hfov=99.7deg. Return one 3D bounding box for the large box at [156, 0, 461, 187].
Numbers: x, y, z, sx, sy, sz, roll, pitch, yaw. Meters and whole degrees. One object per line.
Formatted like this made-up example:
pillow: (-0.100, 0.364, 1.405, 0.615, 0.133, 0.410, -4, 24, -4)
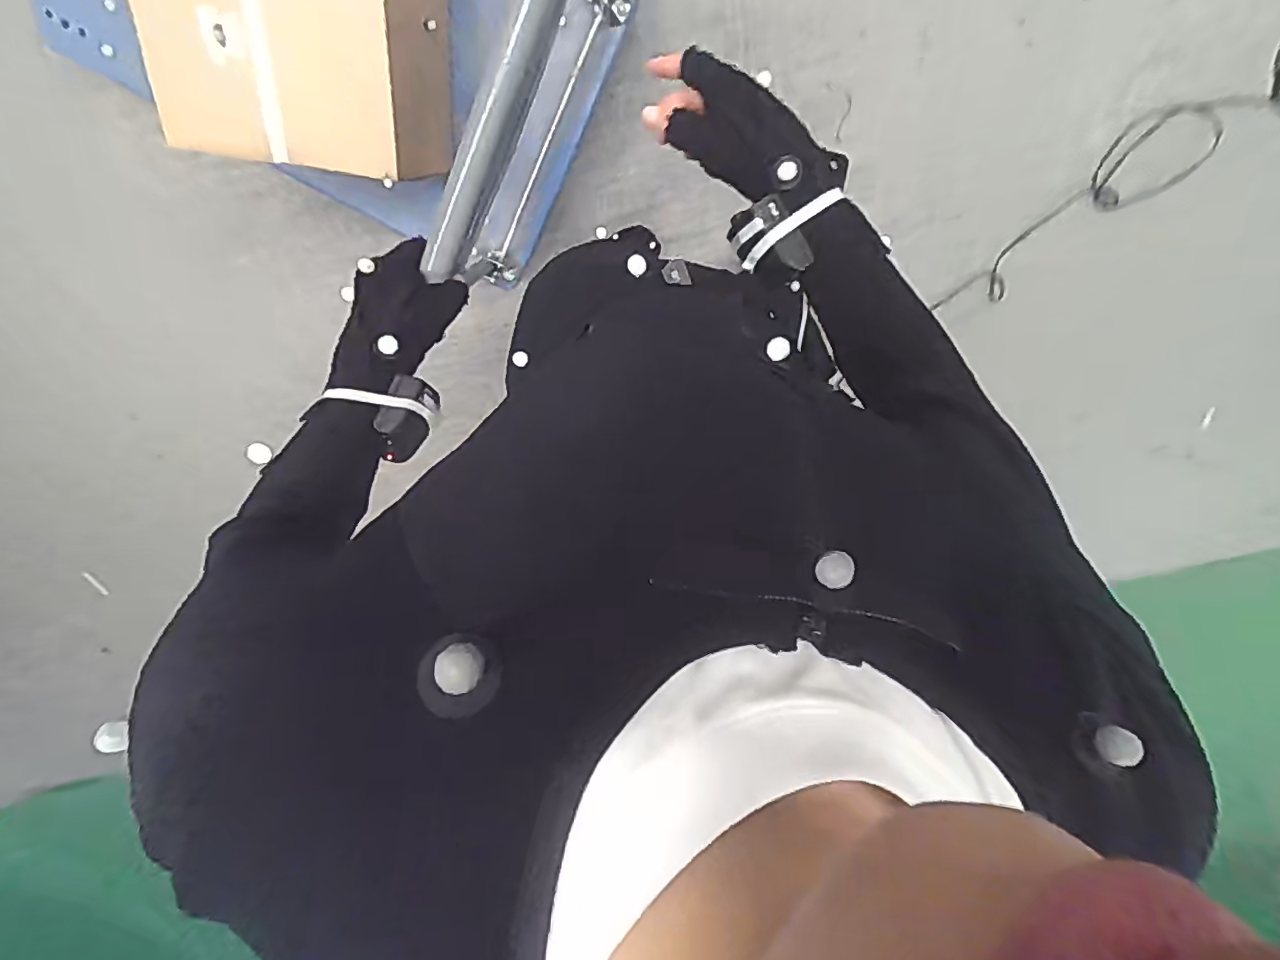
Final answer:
large box: (-0.466, -0.695, 0.813, 0.320, 0.320, 0.408, 6, 121, -5)
